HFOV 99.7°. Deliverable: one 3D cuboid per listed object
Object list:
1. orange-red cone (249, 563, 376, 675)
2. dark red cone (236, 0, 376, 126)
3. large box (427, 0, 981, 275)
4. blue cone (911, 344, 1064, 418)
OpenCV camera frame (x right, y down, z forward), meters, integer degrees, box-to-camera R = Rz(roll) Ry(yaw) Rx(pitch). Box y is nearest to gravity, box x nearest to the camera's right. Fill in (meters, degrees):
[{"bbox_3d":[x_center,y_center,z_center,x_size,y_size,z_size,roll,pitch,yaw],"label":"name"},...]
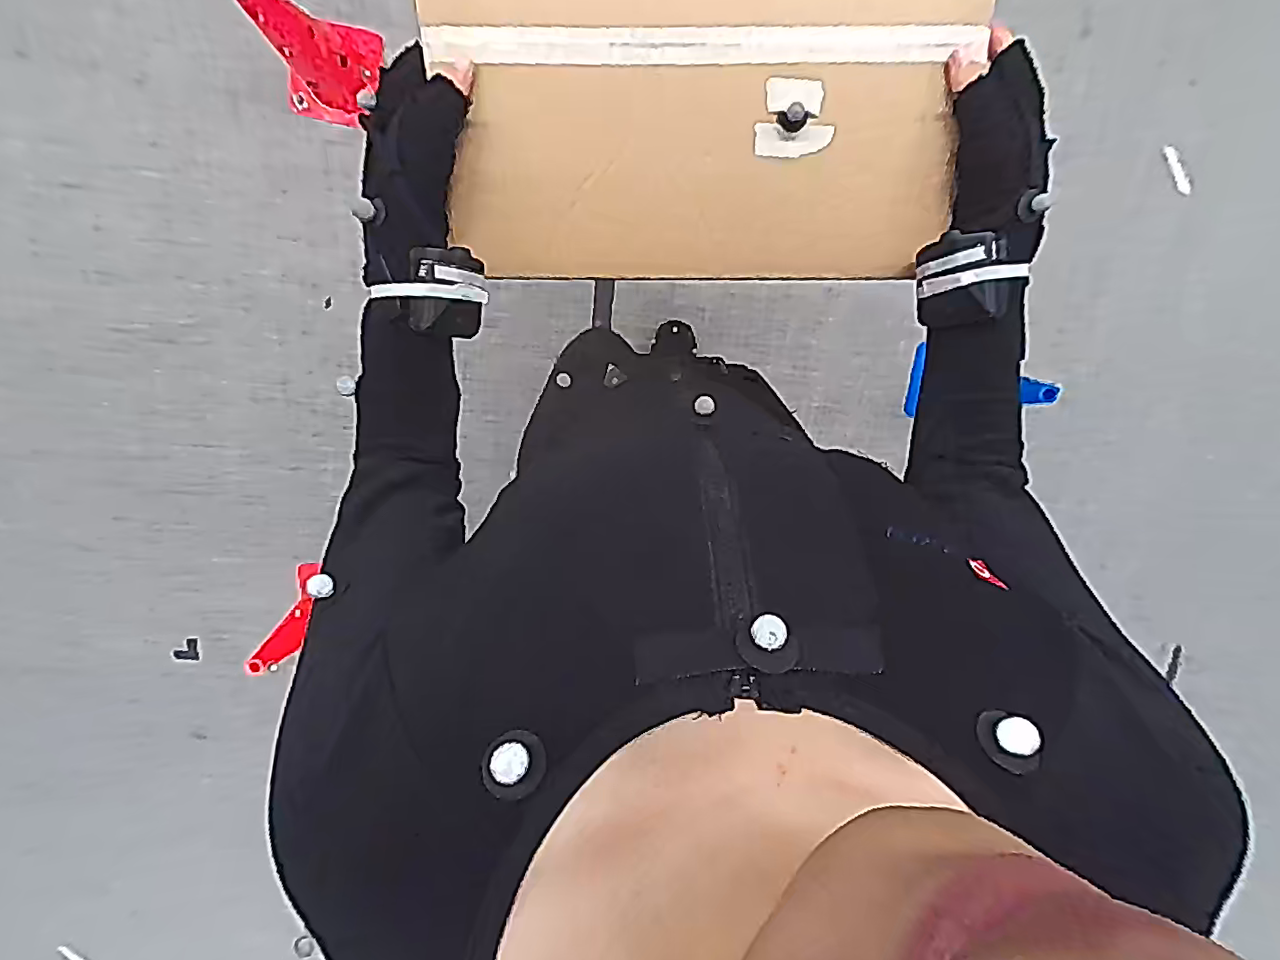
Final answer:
[{"bbox_3d":[-0.849,0.374,1.365,0.198,0.360,0.199,1,105,-1],"label":"orange-red cone"},{"bbox_3d":[-0.683,-0.875,1.042,0.201,0.394,0.202,9,103,-5],"label":"dark red cone"},{"bbox_3d":[0.043,-0.378,0.533,0.408,0.320,0.320,-1,114,-1],"label":"large box"},{"bbox_3d":[0.836,-0.225,1.289,0.192,0.380,0.193,7,104,-5],"label":"blue cone"}]
